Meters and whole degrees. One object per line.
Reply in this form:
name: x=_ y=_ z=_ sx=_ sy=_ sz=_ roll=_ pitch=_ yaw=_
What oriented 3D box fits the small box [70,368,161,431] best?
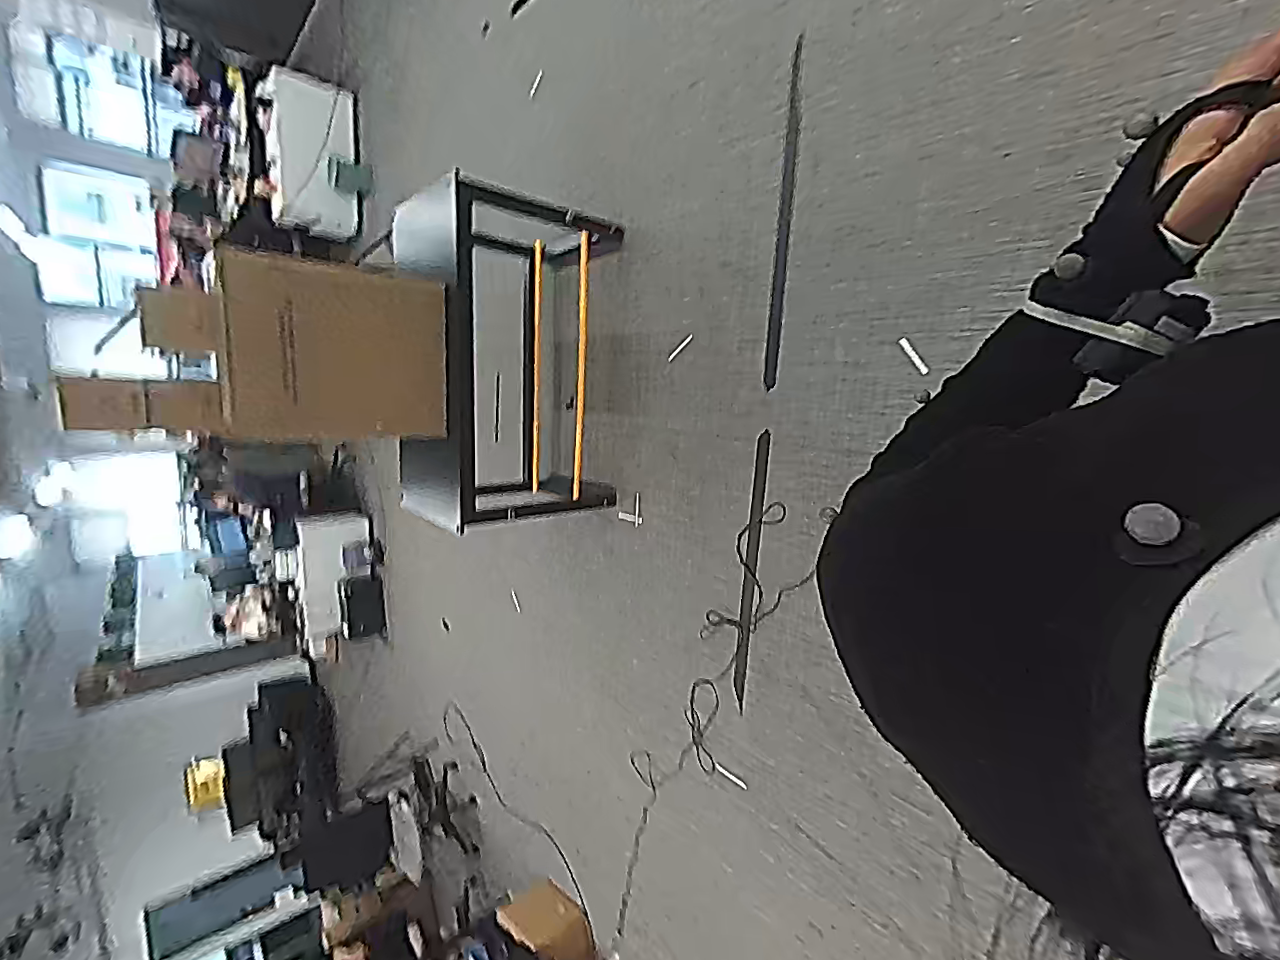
small box: x=-1.451 y=-0.225 z=1.507 sx=0.179 sy=0.176 sz=0.168 roll=10 pitch=101 yaw=48

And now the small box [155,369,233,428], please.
small box: x=-1.338 y=-0.240 z=1.625 sx=0.179 sy=0.176 sz=0.168 roll=7 pitch=100 yaw=48

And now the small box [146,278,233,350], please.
small box: x=-1.240 y=-0.449 z=1.491 sx=0.179 sy=0.176 sz=0.168 roll=10 pitch=103 yaw=47
